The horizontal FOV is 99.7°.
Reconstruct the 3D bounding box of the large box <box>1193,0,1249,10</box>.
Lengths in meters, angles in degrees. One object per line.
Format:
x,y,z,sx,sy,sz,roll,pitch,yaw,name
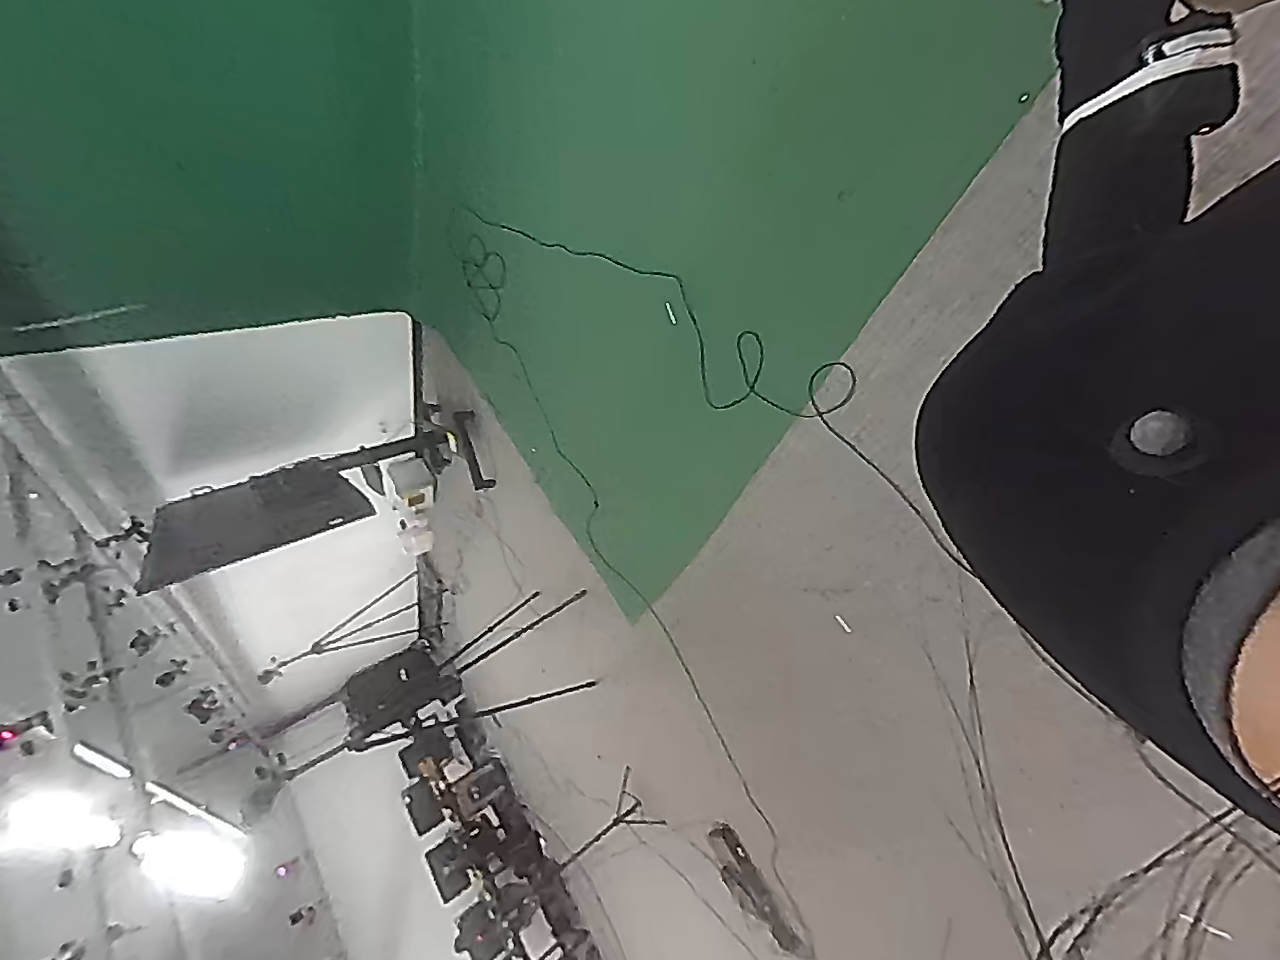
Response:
0.555,-0.521,0.255,0.408,0.320,0.320,5,119,48,large box
